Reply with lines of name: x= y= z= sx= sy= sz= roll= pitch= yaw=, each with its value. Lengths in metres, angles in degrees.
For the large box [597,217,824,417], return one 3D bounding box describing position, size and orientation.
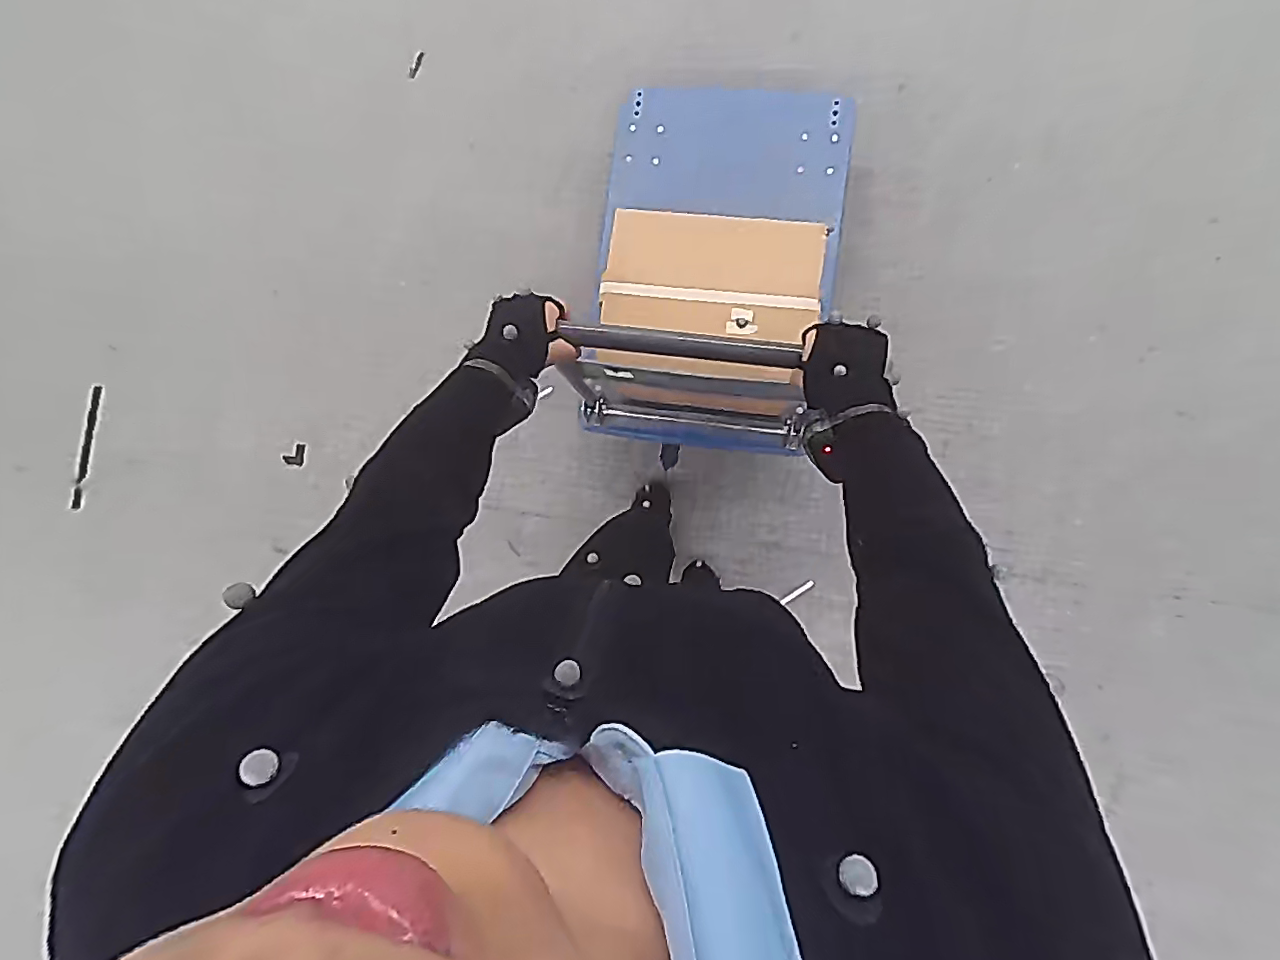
large box: x=0.141 y=-0.328 z=1.167 sx=0.408 sy=0.320 sz=0.320 roll=7 pitch=89 yaw=6
